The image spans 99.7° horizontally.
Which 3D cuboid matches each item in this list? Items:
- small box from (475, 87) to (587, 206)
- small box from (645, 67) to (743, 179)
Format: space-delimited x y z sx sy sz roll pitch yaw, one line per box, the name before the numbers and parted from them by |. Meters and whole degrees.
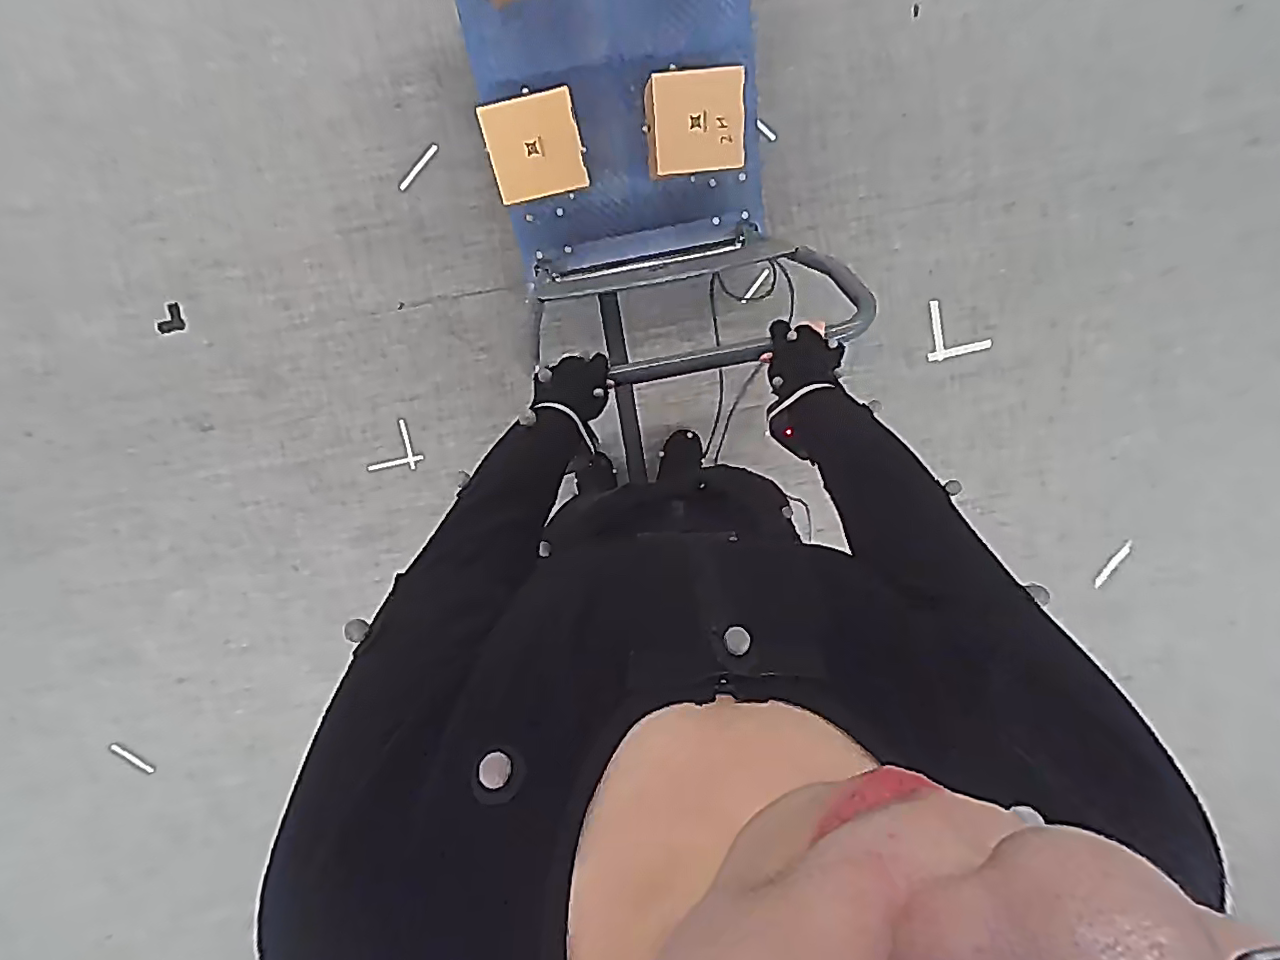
small box | -0.210 -0.661 1.092 0.179 0.176 0.168 -14 117 0
small box | 0.103 -0.713 1.097 0.179 0.176 0.168 -7 117 -2
